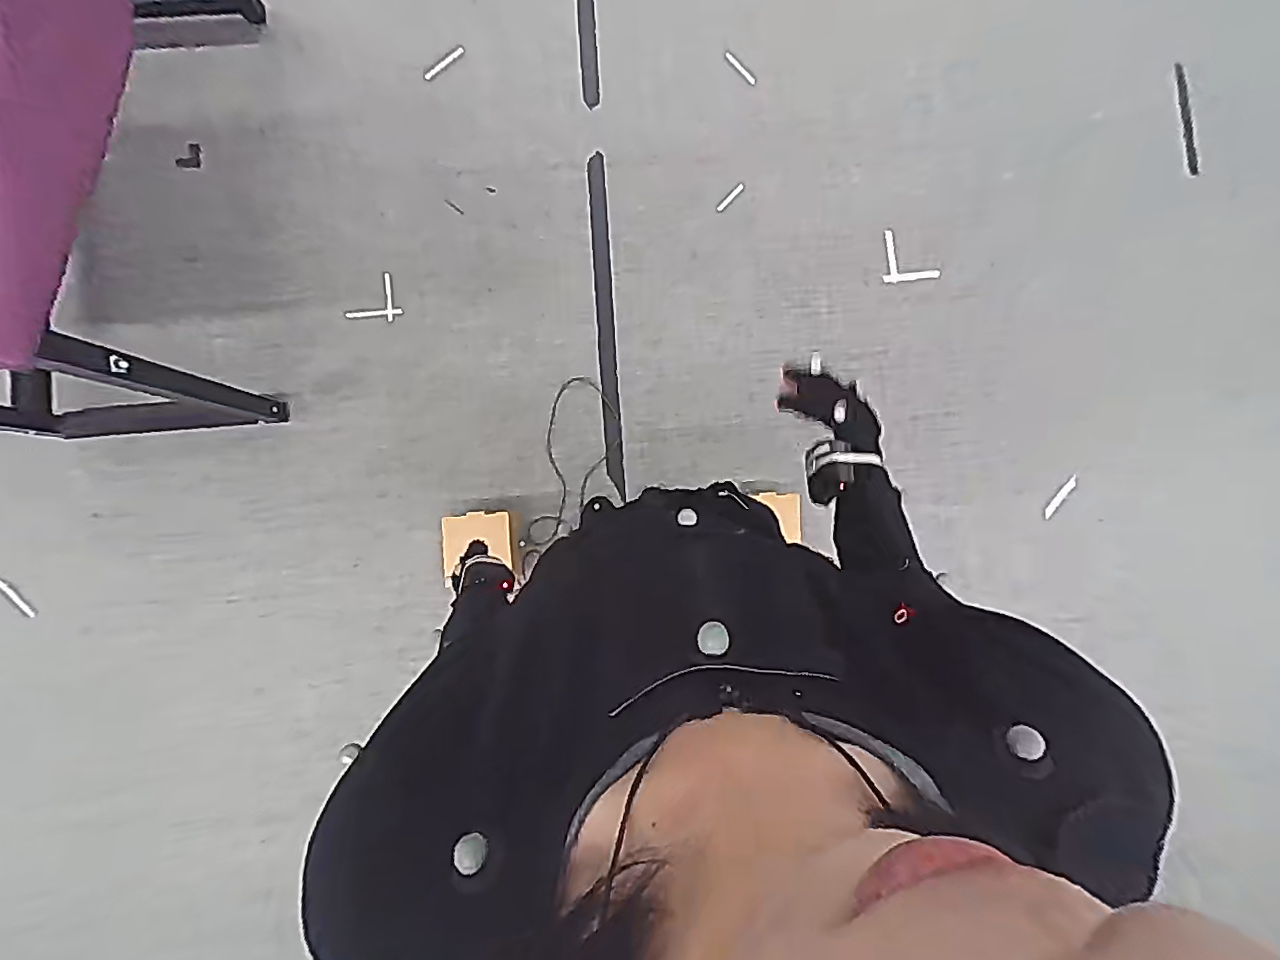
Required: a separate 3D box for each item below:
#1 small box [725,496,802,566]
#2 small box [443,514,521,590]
[{"bbox_3d":[0.326,0.135,1.453,0.168,0.176,0.179,-2,88,-2],"label":"small box"},{"bbox_3d":[-0.405,0.185,1.403,0.168,0.176,0.179,-4,85,-4],"label":"small box"}]
